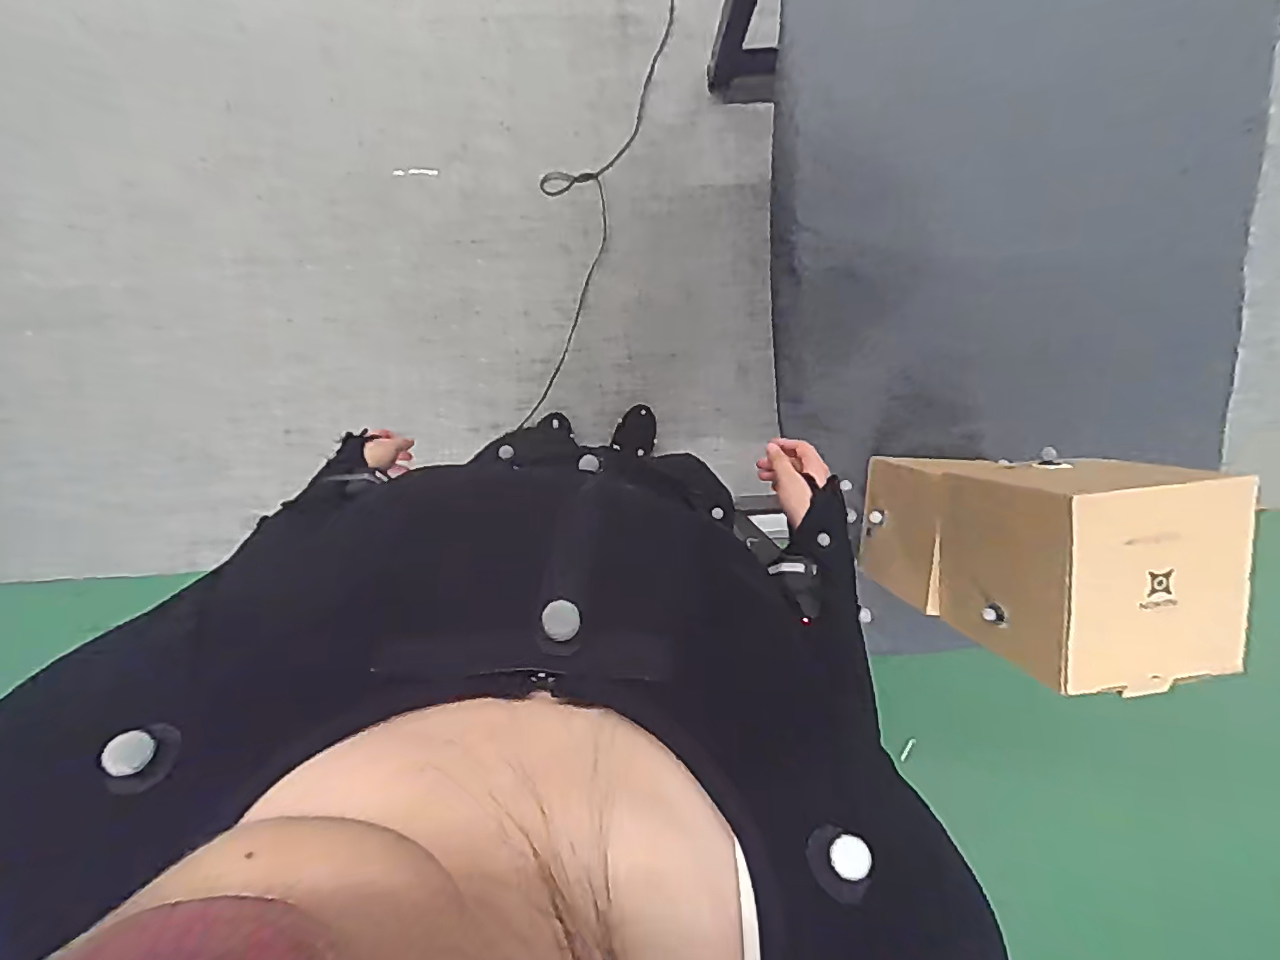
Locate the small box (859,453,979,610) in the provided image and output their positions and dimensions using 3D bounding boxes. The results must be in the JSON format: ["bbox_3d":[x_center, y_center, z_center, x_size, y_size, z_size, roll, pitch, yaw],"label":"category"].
[{"bbox_3d":[0.403,0.056,0.677,0.179,0.176,0.168,2,98,-4],"label":"small box"}]

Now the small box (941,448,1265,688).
[{"bbox_3d":[0.414,0.068,0.515,0.168,0.176,0.179,-6,97,-5],"label":"small box"}]

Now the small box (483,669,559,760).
[{"bbox_3d":[-0.321,0.635,1.480,0.179,0.176,0.168,3,99,-3],"label":"small box"}]
